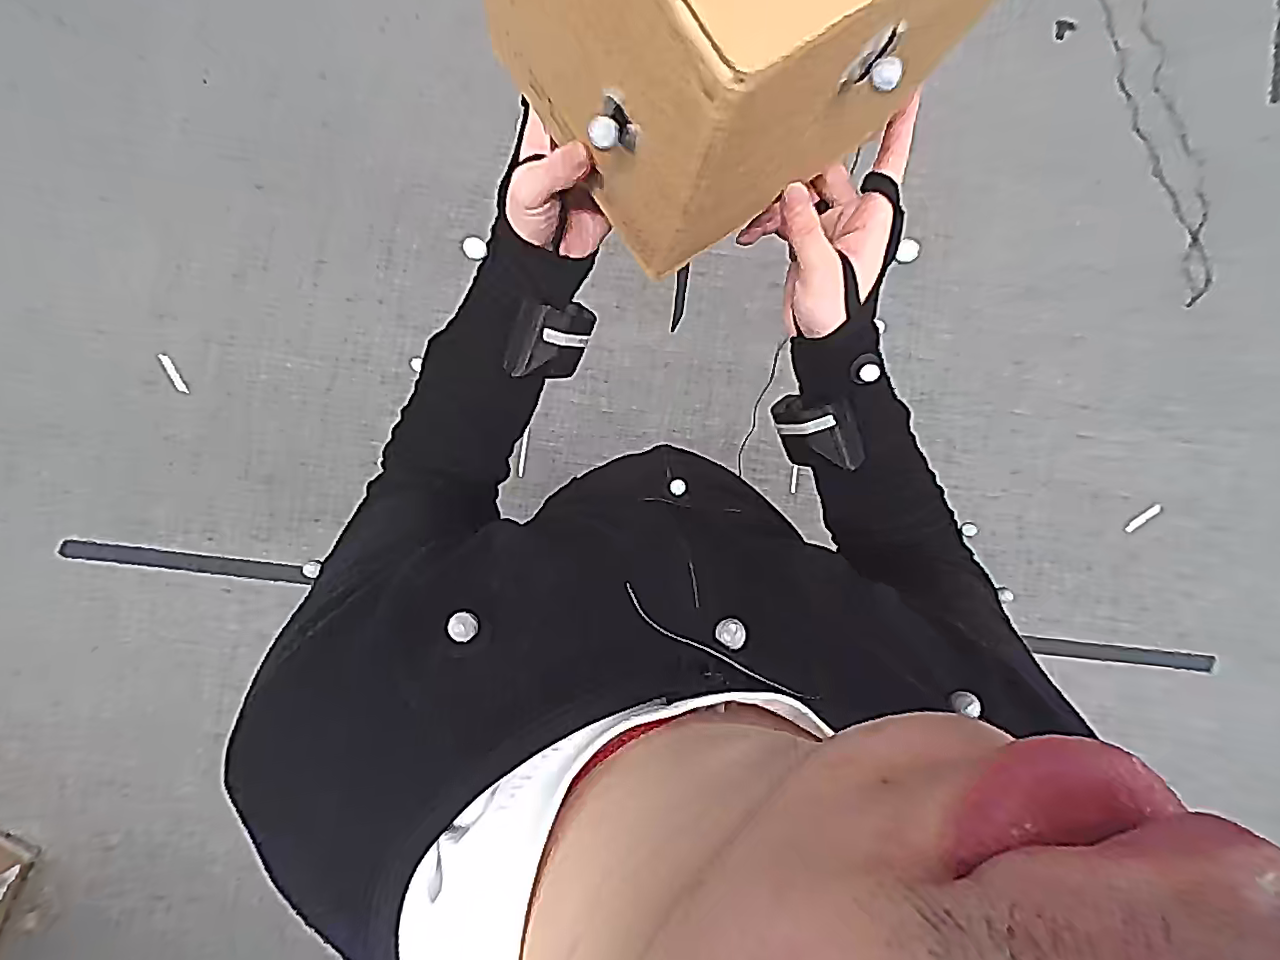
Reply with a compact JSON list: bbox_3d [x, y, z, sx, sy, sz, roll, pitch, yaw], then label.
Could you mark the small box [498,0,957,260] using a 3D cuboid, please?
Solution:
[{"bbox_3d":[0.039,-0.241,0.256,0.179,0.176,0.168,-38,95,-6],"label":"small box"}]
